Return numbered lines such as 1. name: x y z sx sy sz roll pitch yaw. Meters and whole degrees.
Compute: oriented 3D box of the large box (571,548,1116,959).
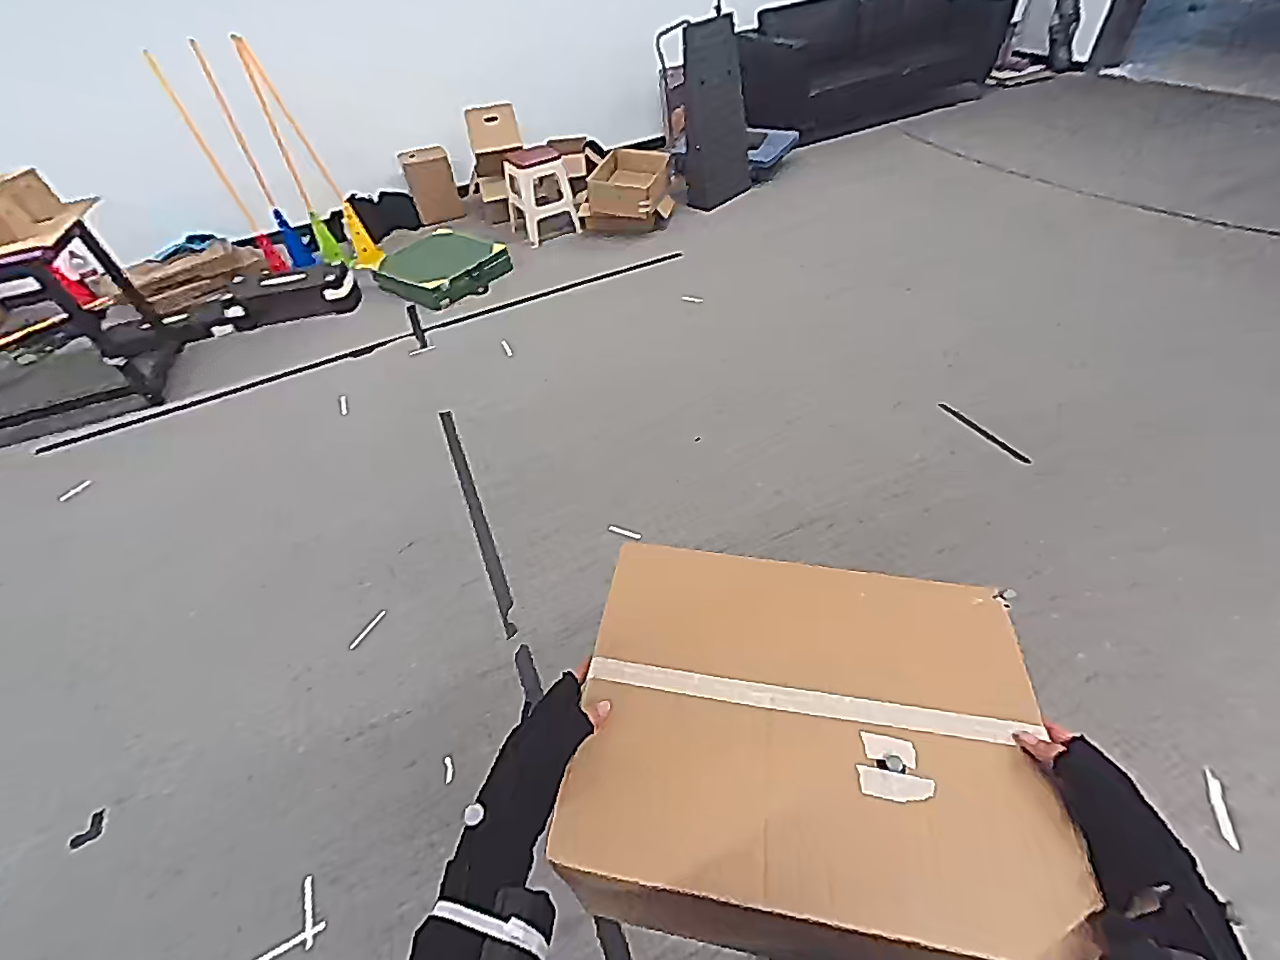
1. large box: 0.166 0.312 0.608 0.408 0.320 0.320 8 47 9
